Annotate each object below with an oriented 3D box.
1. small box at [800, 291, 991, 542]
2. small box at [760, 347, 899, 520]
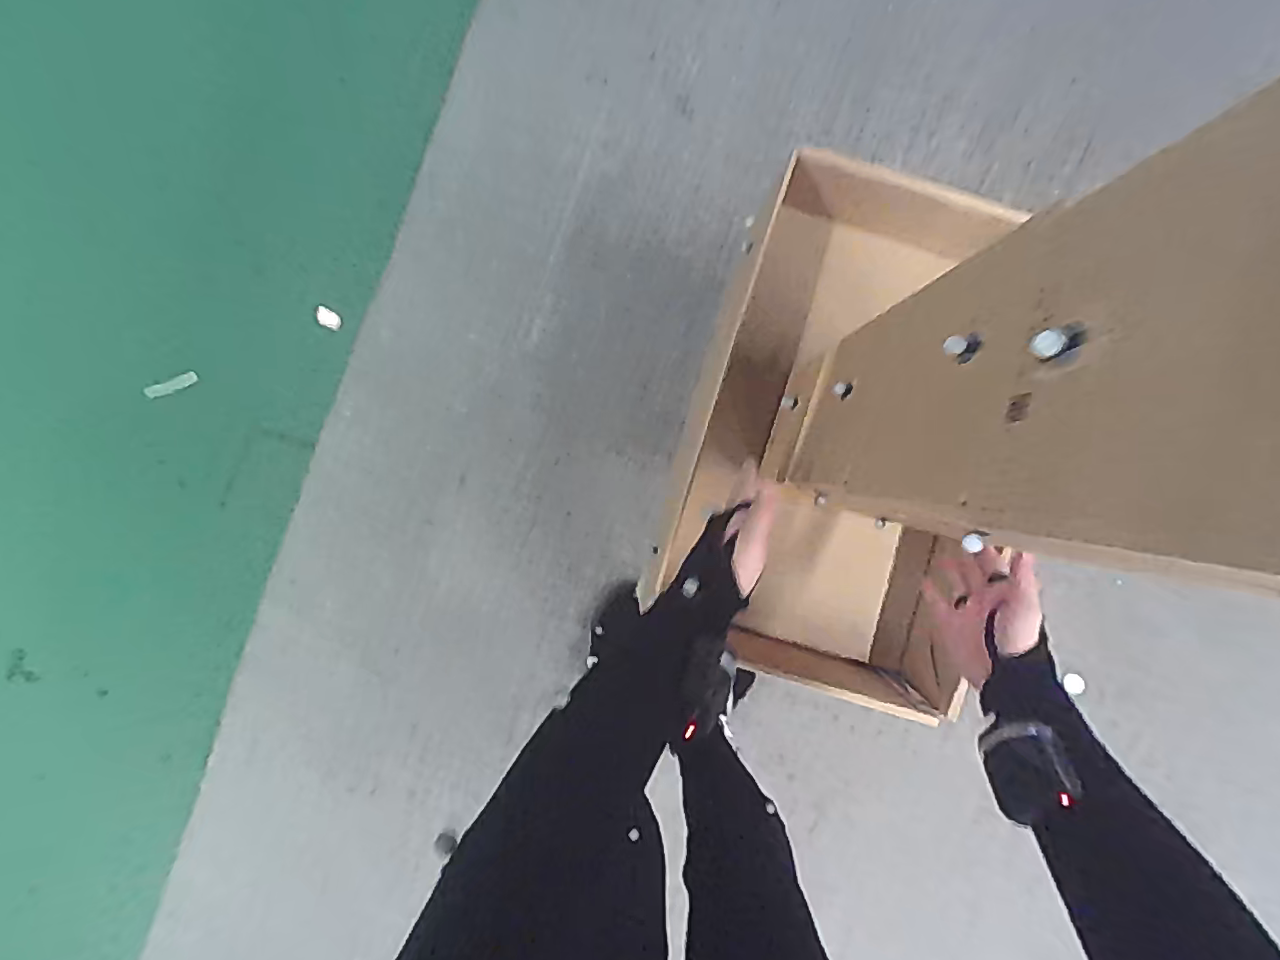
[{"bbox_3d":[0.276,-0.051,0.531,0.168,0.176,0.179,20,90,-1],"label":"small box"},{"bbox_3d":[0.271,-0.050,0.695,0.179,0.176,0.168,18,91,-1],"label":"small box"}]
